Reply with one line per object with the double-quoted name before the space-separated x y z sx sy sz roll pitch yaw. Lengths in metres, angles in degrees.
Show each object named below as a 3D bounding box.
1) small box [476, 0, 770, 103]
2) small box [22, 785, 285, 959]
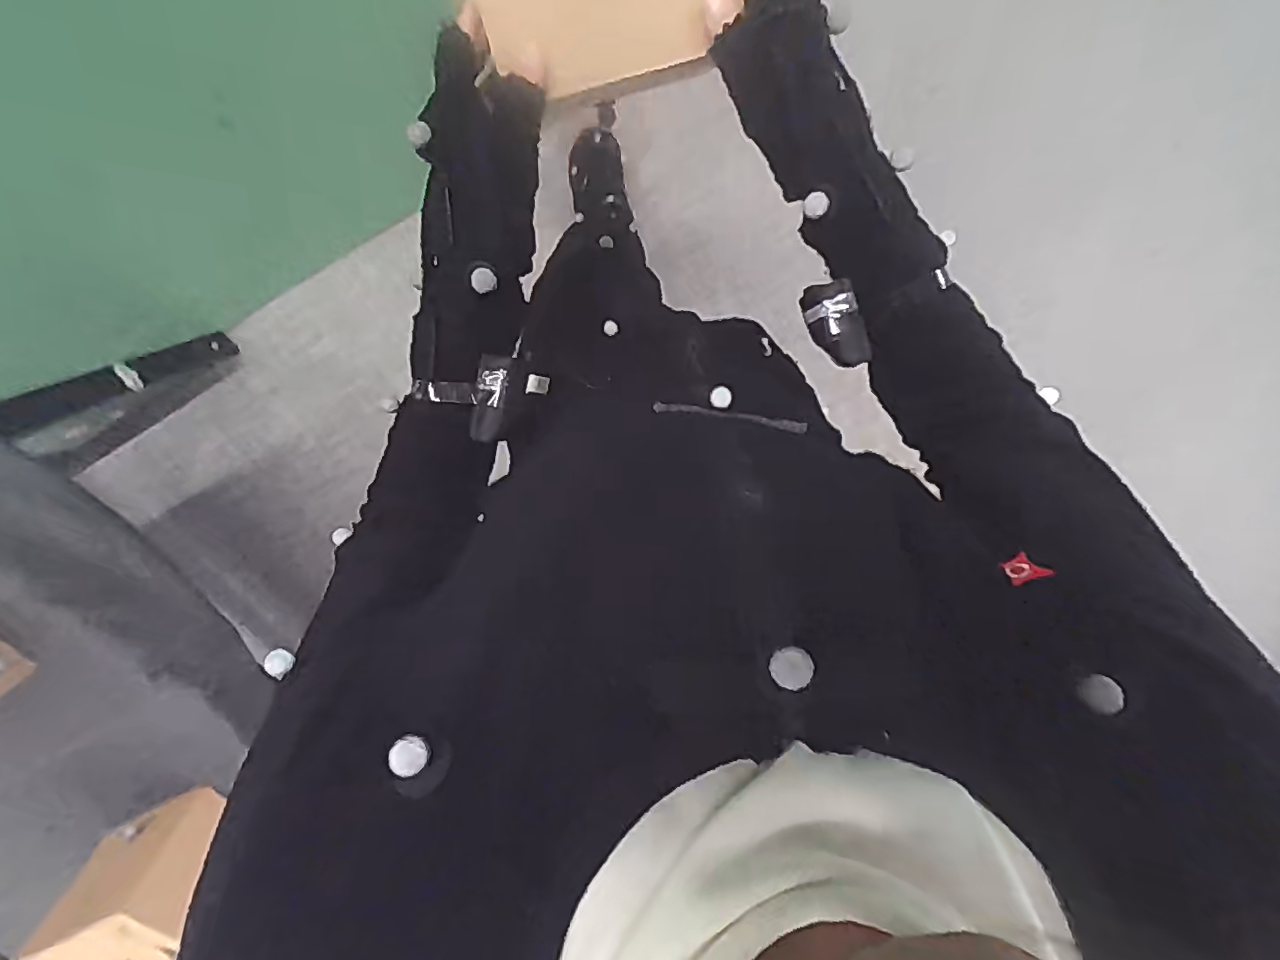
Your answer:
"small box" -0.029 -0.361 0.336 0.168 0.176 0.179 -13 121 1
"small box" -0.652 0.571 0.754 0.179 0.176 0.168 -28 116 7
